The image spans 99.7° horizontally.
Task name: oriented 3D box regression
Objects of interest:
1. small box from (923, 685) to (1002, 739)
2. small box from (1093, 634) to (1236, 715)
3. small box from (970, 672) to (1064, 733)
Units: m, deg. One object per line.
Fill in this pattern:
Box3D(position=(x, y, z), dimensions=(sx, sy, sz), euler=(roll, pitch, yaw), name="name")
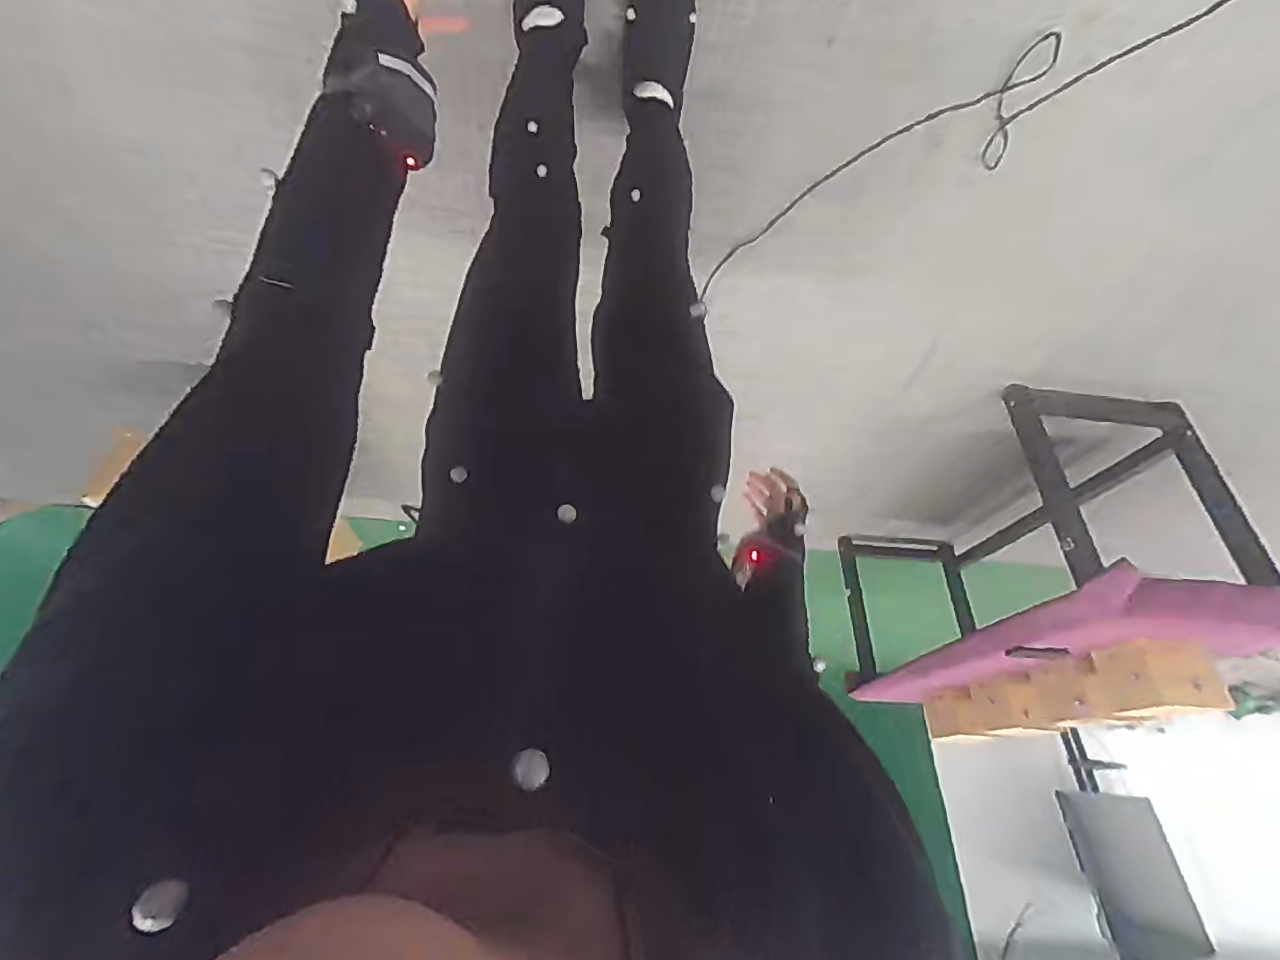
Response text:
Box3D(position=(1.213, 0.878, 2.047), dimensions=(0.179, 0.176, 0.168), euler=(8, 148, -10), name="small box")
Box3D(position=(1.337, 0.501, 1.397), dimensions=(0.179, 0.176, 0.168), euler=(4, 149, -4), name="small box")
Box3D(position=(1.261, 0.751, 1.824), dimensions=(0.179, 0.176, 0.168), euler=(7, 150, -9), name="small box")
